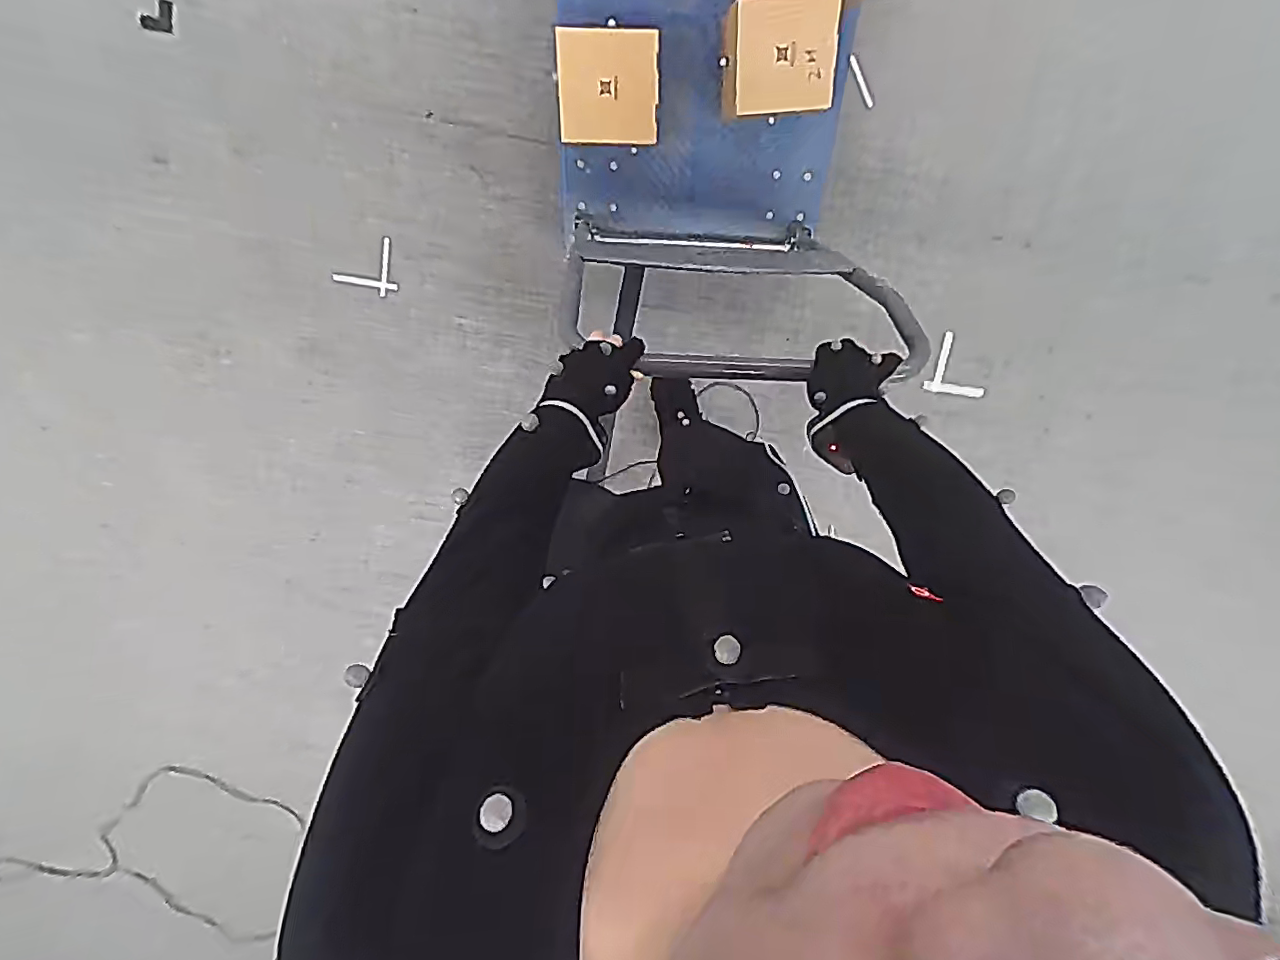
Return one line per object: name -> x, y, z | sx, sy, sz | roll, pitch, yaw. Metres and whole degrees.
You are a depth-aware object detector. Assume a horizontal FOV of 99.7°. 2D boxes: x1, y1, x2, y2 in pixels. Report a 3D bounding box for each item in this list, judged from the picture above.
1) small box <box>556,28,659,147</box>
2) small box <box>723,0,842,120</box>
small box -> -0.059, -0.724, 1.014 | 0.179, 0.176, 0.168 | -2, 121, -3
small box -> 0.250, -0.772, 0.997 | 0.179, 0.176, 0.168 | -4, 121, 0
